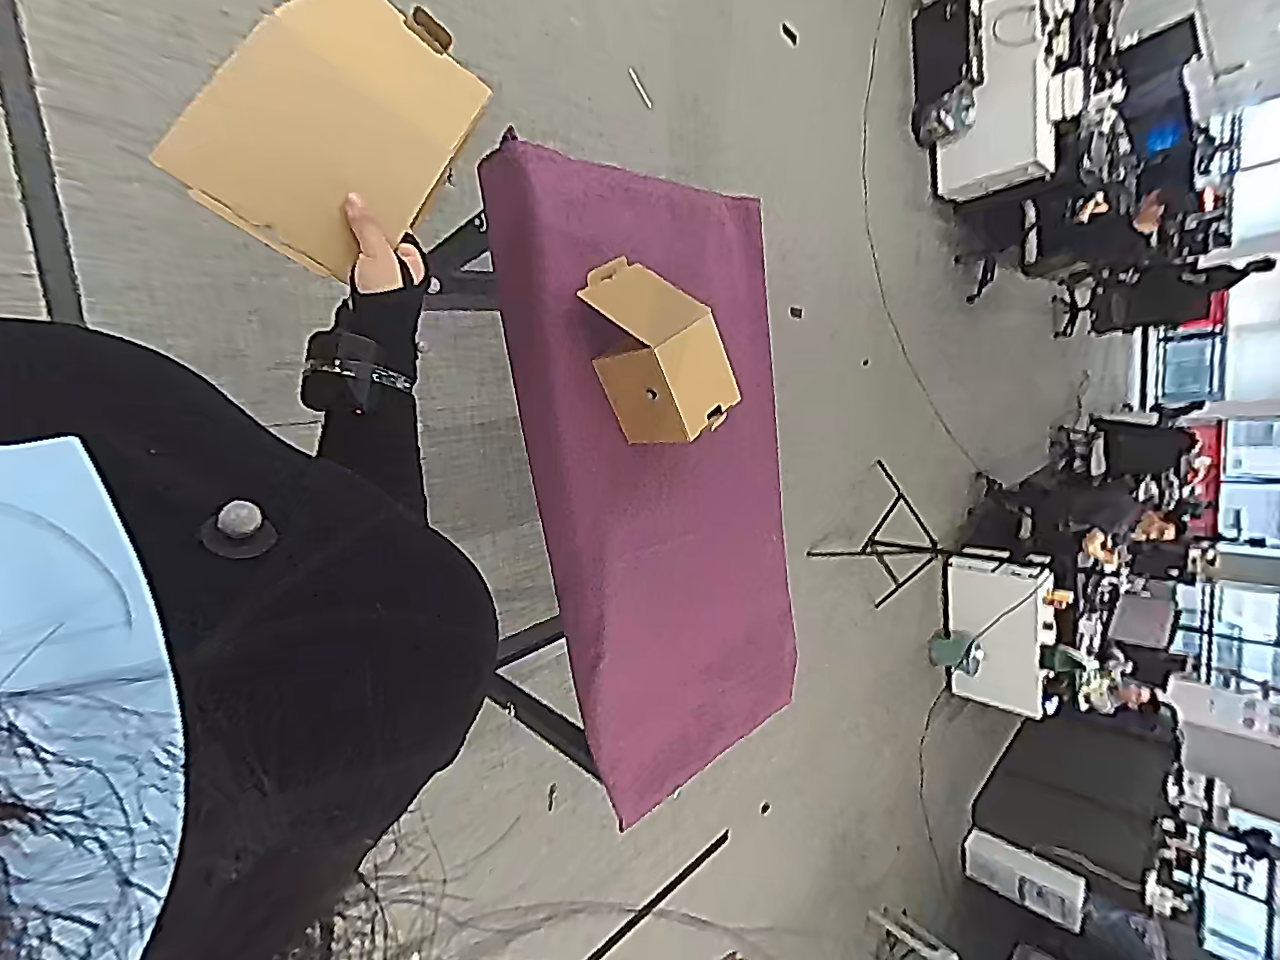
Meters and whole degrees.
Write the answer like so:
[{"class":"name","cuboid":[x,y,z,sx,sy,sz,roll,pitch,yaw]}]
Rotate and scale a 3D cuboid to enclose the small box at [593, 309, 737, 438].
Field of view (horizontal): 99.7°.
[{"class":"small box","cuboid":[0.043,-0.187,0.989,0.168,0.176,0.179,-40,117,-32]}]
